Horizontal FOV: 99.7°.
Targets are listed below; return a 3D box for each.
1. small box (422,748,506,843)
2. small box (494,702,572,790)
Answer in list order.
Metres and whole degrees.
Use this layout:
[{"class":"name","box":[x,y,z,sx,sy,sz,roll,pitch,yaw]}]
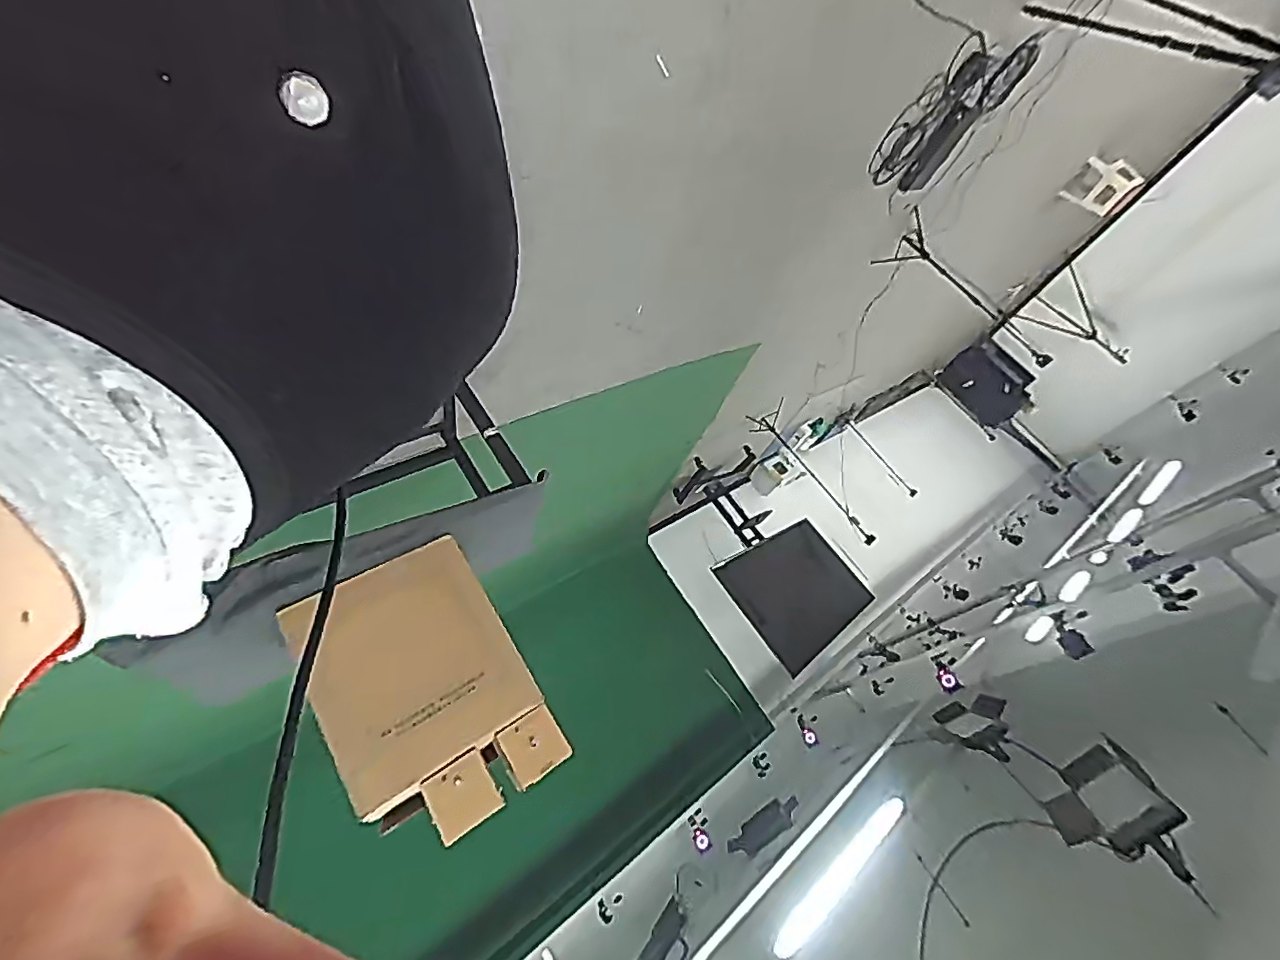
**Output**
[{"class":"small box","box":[-0.492,0.881,1.521,0.168,0.176,0.179,-28,159,-25]},{"class":"small box","box":[-0.329,0.800,1.636,0.168,0.176,0.179,-27,160,-30]}]
